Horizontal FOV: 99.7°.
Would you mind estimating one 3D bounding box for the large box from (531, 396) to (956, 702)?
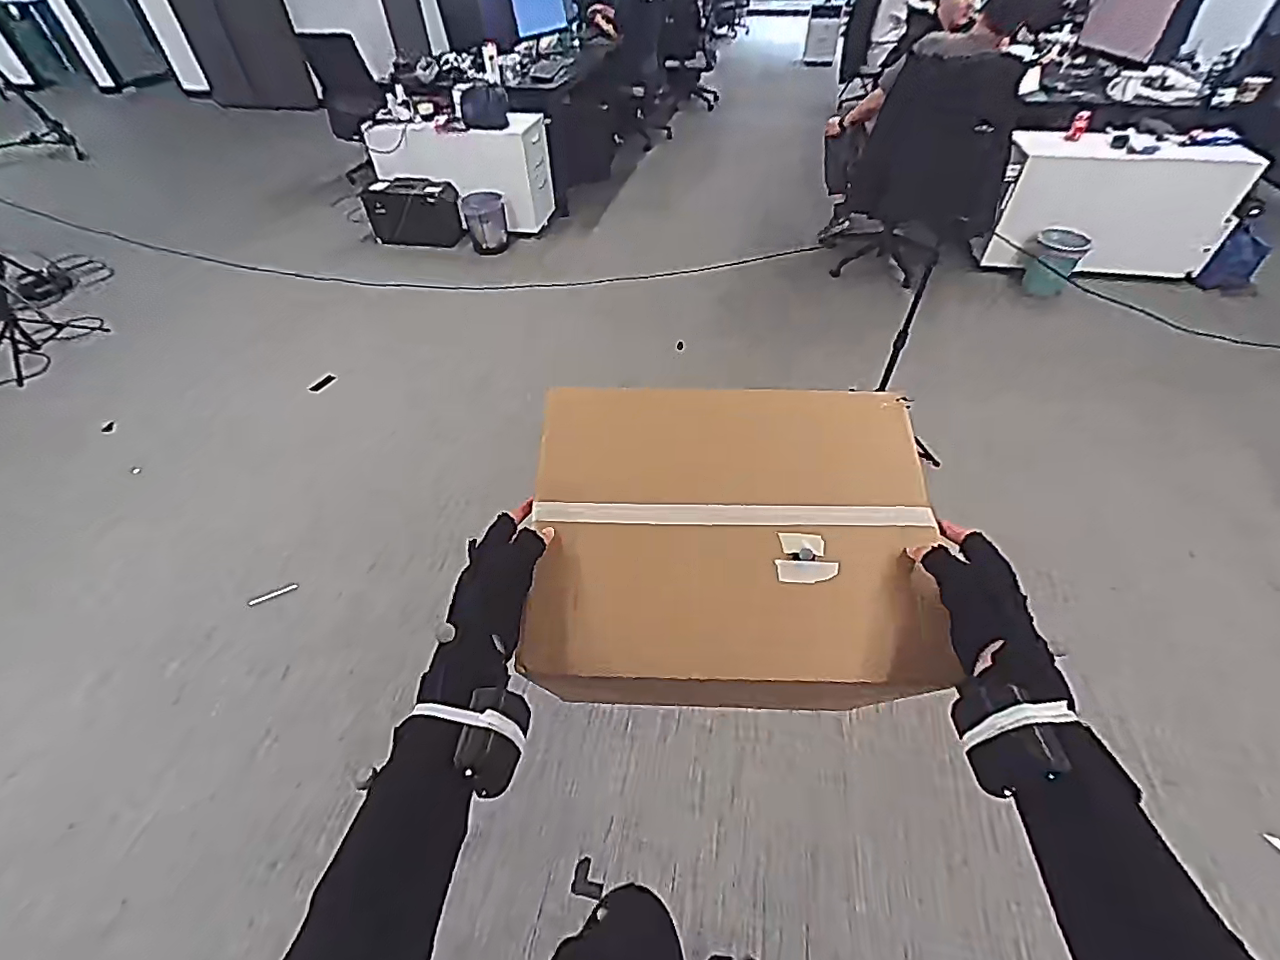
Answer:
[{"bbox_3d":[0.095,0.106,0.697,0.408,0.320,0.320,1,64,1],"label":"large box"}]
